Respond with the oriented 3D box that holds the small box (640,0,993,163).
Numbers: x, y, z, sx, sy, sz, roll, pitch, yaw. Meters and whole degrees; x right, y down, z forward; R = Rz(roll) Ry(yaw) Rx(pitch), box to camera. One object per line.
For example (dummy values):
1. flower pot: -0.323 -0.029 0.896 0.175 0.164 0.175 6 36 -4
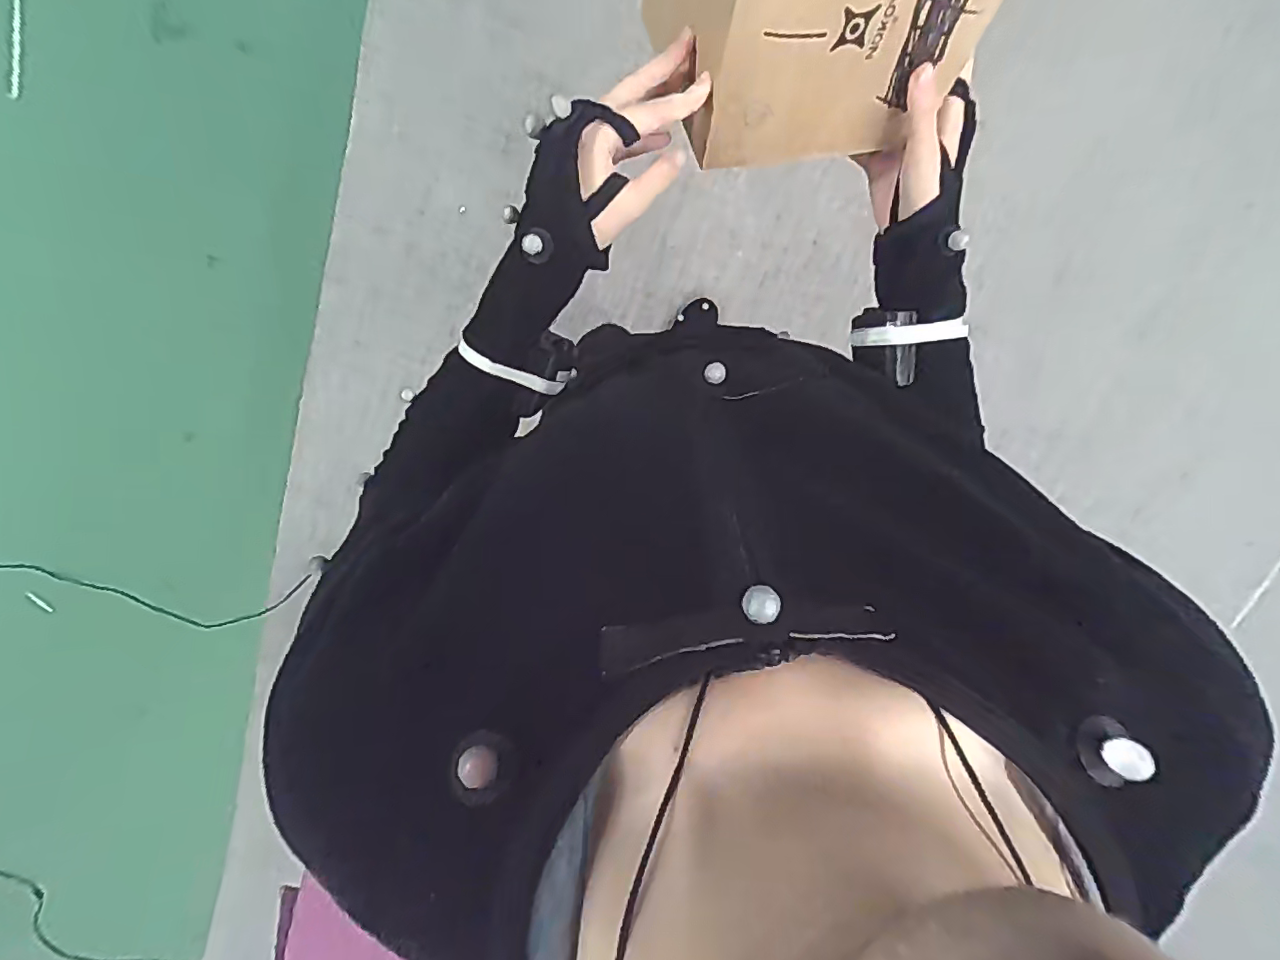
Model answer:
1. small box: 0.107 -0.338 0.339 0.179 0.168 0.176 -11 71 -9
